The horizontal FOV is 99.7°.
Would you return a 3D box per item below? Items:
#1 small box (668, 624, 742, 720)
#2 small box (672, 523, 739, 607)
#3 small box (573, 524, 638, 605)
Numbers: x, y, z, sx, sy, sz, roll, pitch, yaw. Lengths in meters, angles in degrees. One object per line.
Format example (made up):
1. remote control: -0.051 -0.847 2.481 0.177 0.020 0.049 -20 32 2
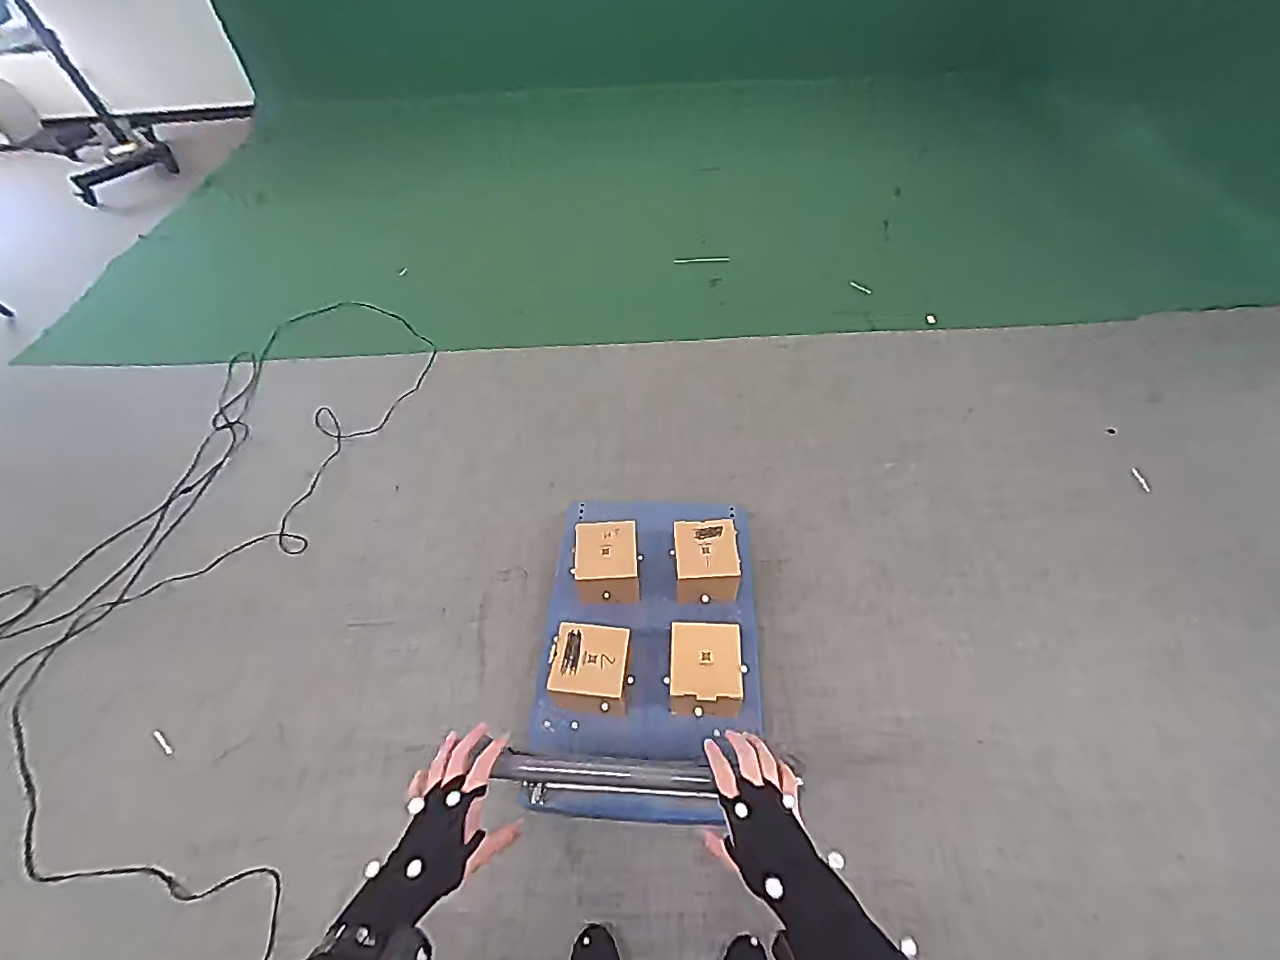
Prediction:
1. small box: 0.155 0.475 1.335 0.168 0.176 0.179 1 53 3
2. small box: 0.176 0.238 1.511 0.168 0.176 0.179 -3 54 1
3. small box: -0.093 0.243 1.518 0.168 0.176 0.179 -2 53 0
